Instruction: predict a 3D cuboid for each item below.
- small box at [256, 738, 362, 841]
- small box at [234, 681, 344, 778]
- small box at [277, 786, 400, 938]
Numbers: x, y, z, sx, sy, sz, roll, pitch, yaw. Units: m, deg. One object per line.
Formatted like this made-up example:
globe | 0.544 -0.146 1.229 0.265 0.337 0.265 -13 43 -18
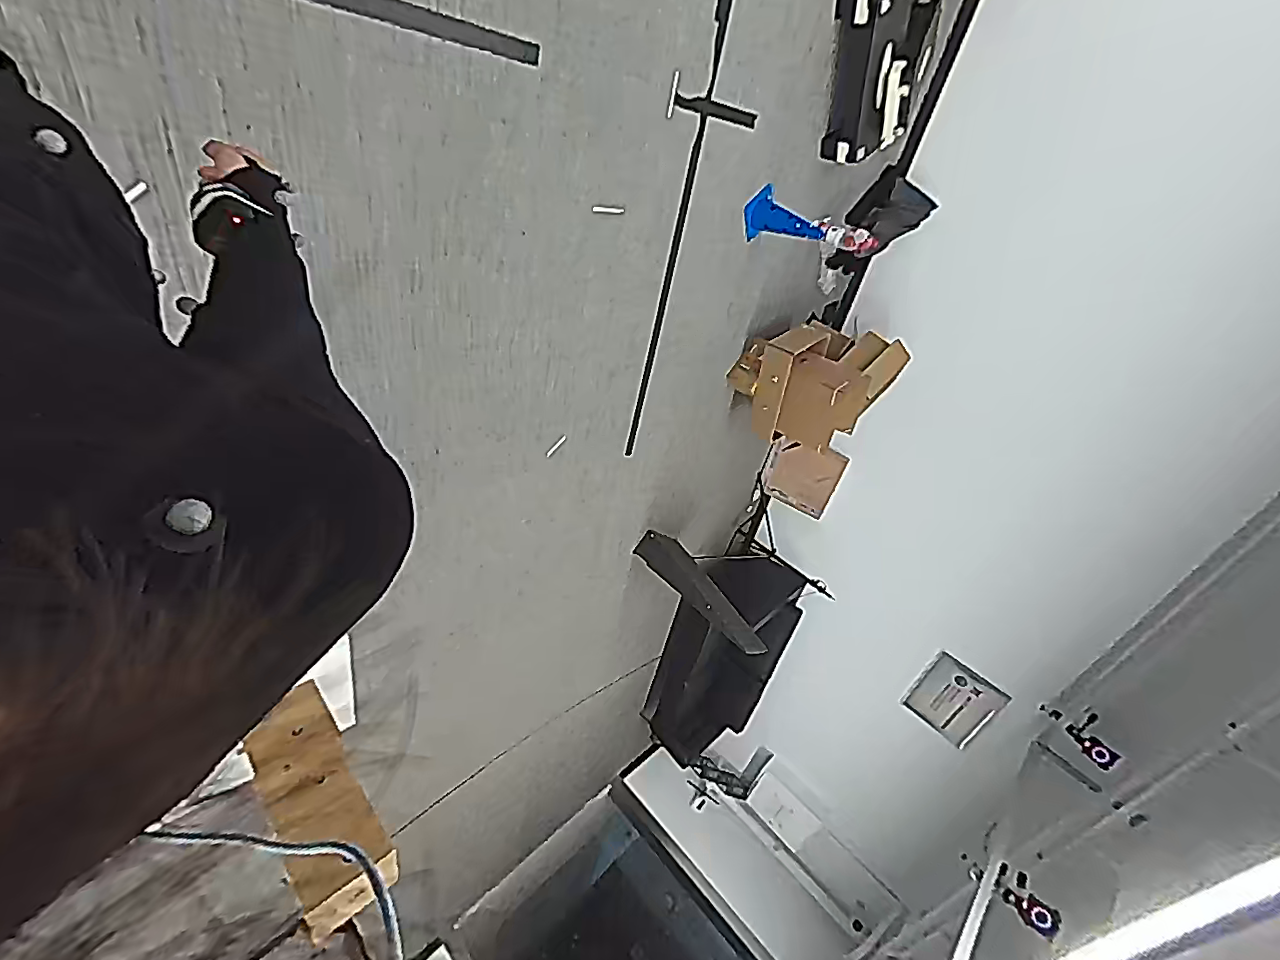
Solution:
small box | -0.755 0.731 1.245 0.168 0.176 0.179 -21 138 -42
small box | -0.857 0.634 1.327 0.179 0.176 0.168 -22 137 -41
small box | -0.638 0.802 1.152 0.179 0.176 0.168 -22 137 -42
